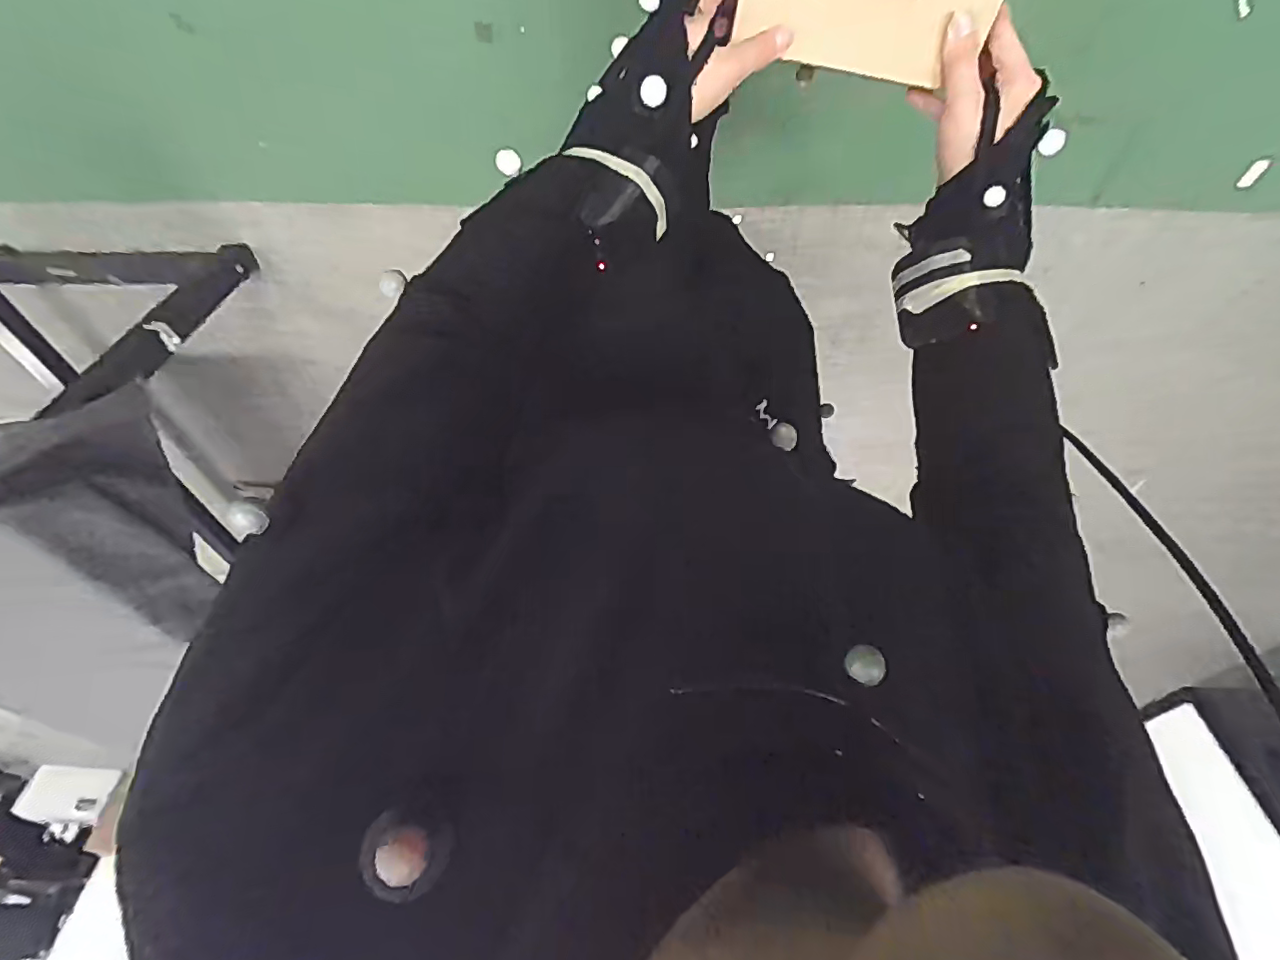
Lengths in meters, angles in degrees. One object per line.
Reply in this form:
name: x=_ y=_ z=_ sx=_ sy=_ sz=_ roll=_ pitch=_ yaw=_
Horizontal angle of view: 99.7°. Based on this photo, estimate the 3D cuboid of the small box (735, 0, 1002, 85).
small box: x=0.166 y=-0.402 z=0.376 sx=0.168 sy=0.176 sz=0.179 roll=11 pitch=132 yaw=2
